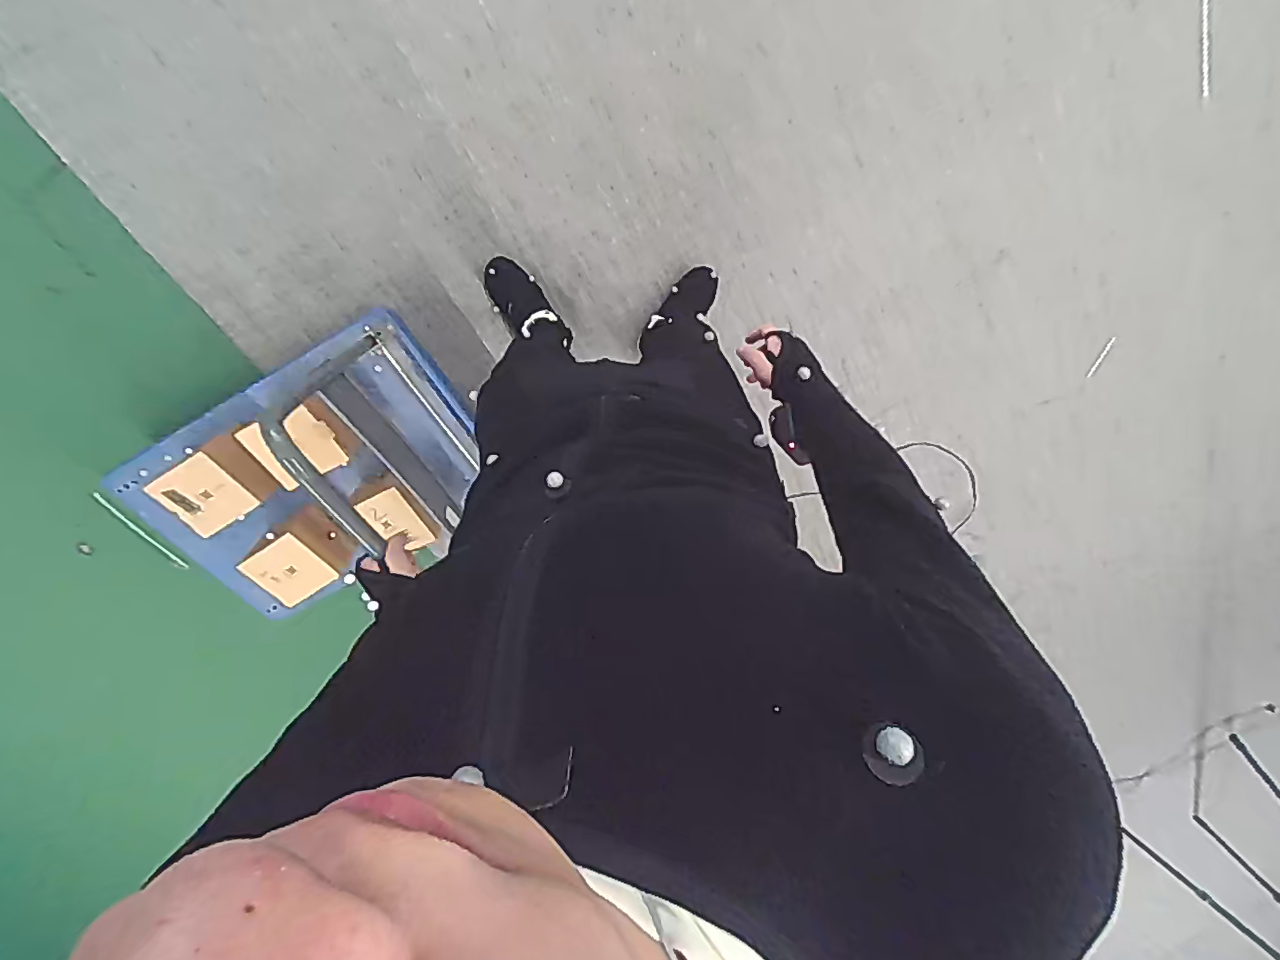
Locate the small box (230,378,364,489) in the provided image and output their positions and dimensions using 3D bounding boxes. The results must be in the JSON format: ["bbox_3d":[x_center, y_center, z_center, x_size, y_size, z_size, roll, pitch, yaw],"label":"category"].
[{"bbox_3d":[-0.787,-0.114,1.266,0.179,0.176,0.168,-26,119,5],"label":"small box"}]

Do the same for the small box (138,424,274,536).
[{"bbox_3d":[-1.009,-0.004,1.289,0.179,0.176,0.168,-30,119,6],"label":"small box"}]

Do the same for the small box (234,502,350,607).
[{"bbox_3d":[-0.891,0.188,1.411,0.179,0.176,0.168,-31,118,8],"label":"small box"}]
